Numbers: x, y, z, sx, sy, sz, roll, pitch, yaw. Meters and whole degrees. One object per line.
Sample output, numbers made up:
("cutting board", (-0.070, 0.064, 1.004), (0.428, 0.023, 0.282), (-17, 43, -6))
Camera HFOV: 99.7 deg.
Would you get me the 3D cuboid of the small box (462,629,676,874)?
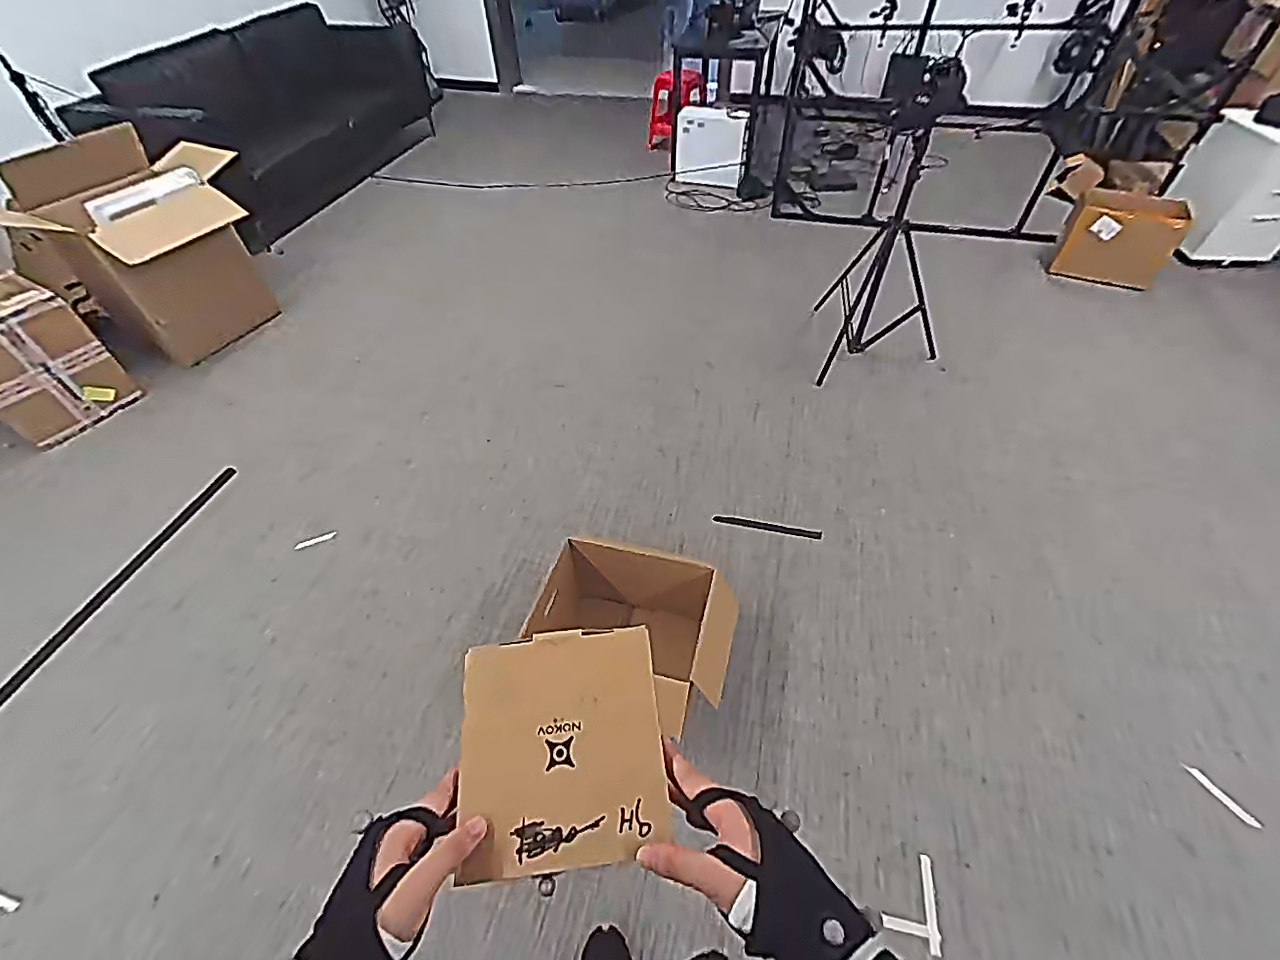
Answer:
("small box", (-0.059, 0.261, 0.522), (0.168, 0.176, 0.179), (-6, 58, -1))
